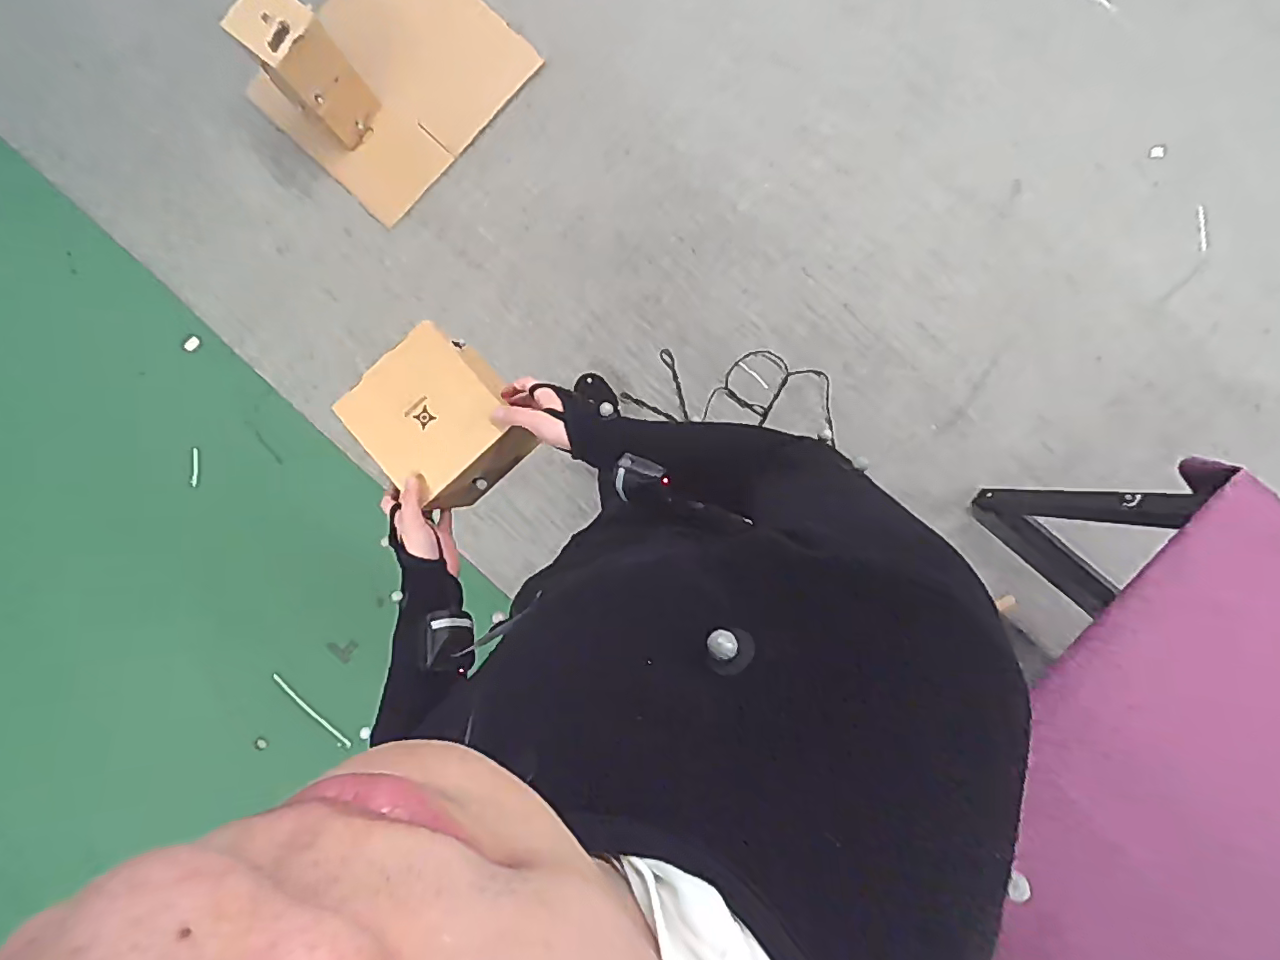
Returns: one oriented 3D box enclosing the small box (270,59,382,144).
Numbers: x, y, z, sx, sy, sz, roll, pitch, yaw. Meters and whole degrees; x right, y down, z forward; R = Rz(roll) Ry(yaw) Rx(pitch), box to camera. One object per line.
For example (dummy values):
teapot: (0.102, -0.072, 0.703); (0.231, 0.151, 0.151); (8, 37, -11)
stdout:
small box: (-0.882, -1.106, 1.535); (0.179, 0.176, 0.168); (35, 91, 0)

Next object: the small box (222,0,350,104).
small box: (-0.885, -1.105, 1.371); (0.179, 0.176, 0.168); (39, 91, 1)

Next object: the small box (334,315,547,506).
small box: (-0.253, -0.085, 0.733); (0.168, 0.176, 0.179); (-42, 86, 4)
